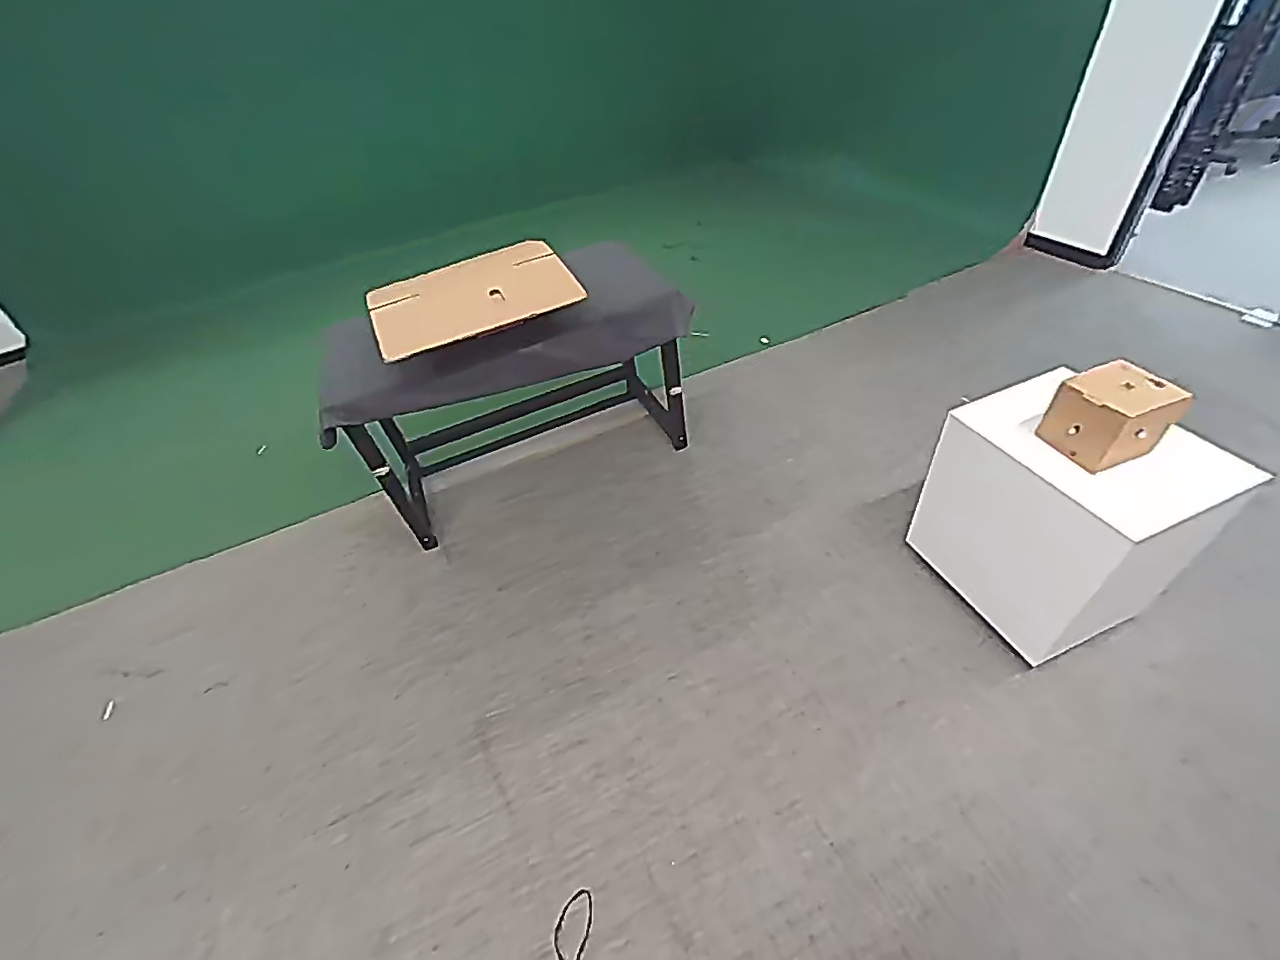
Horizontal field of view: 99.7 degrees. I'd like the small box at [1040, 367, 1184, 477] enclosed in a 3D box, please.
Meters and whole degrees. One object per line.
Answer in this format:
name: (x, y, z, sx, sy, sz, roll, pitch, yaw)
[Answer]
small box: (1.084, -0.133, 1.264, 0.179, 0.176, 0.168, -20, 44, -11)
